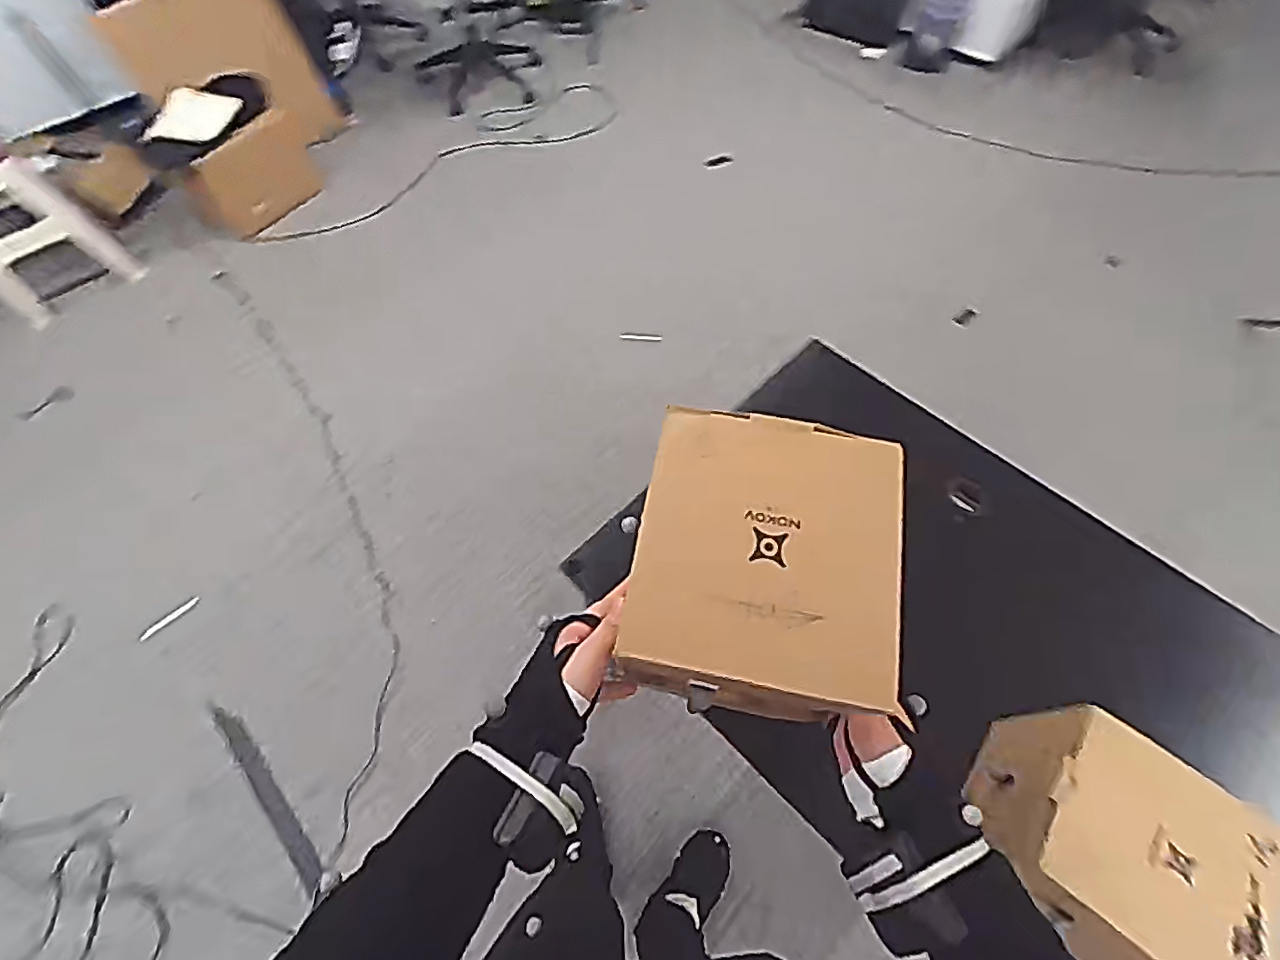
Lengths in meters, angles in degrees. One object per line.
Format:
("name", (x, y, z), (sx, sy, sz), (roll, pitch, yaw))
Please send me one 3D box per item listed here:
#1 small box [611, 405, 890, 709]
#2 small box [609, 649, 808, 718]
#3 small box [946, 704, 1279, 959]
("small box", (0.075, 0.068, 0.419), (0.168, 0.176, 0.179), (9, 69, 4))
("small box", (0.071, 0.140, 0.565), (0.179, 0.176, 0.168), (11, 68, 4))
("small box", (0.444, 0.357, 0.531), (0.179, 0.176, 0.168), (36, 66, 19))
